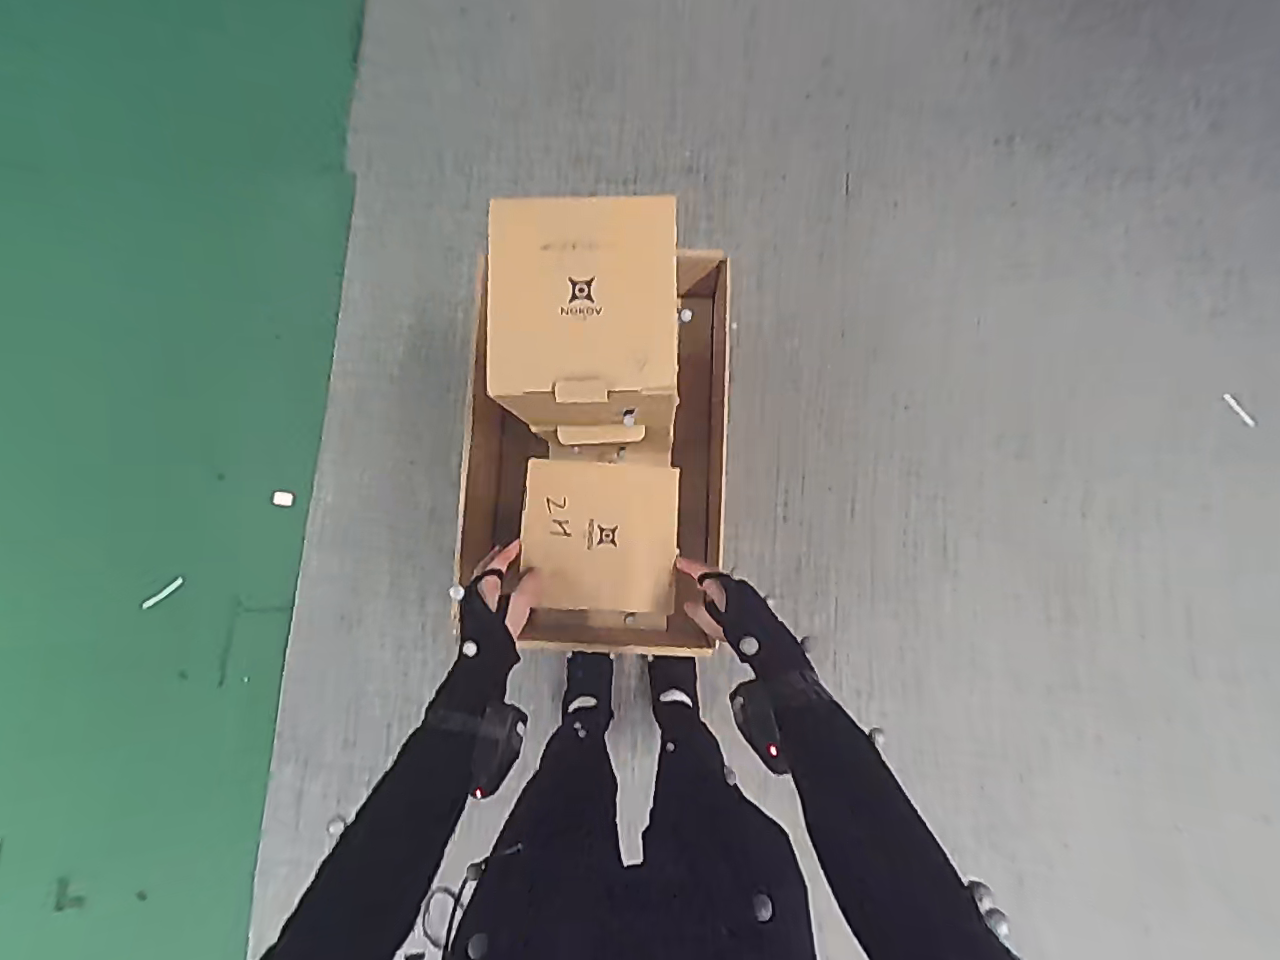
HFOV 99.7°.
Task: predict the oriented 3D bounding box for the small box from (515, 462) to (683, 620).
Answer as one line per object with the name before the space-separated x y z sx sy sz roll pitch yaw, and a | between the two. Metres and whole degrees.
small box | -0.049 0.083 0.675 0.179 0.176 0.168 5 76 -4

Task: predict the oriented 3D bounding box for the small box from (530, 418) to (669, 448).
small box | -0.046 -0.137 0.715 0.168 0.176 0.179 -2 85 2

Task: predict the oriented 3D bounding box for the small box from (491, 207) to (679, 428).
small box | -0.045 -0.149 0.552 0.168 0.176 0.179 0 86 1
